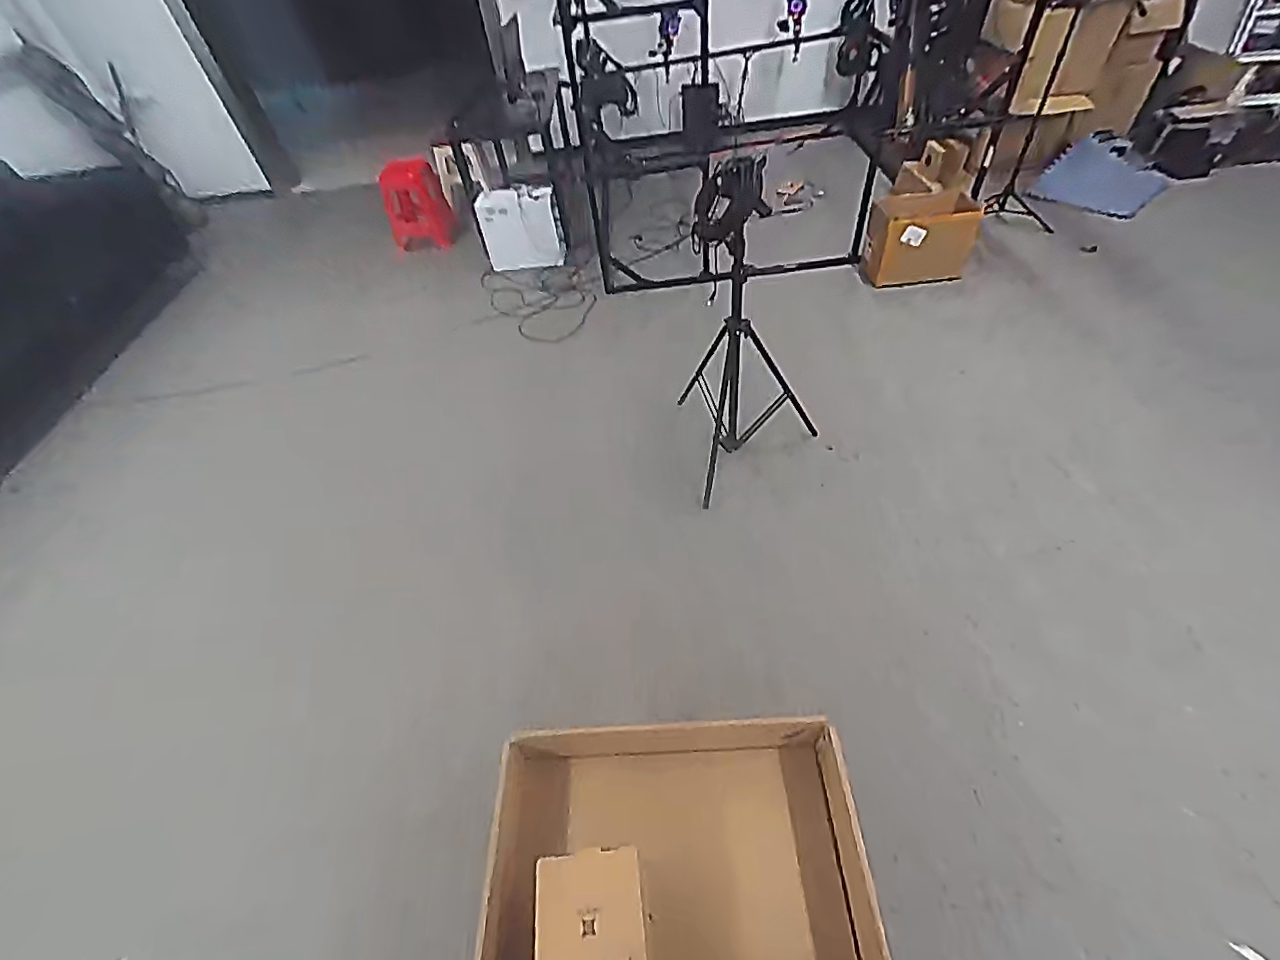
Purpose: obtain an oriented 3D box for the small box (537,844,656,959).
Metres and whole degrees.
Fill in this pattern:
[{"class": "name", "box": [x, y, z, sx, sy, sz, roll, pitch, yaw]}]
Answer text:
[{"class": "small box", "box": [-0.067, 0.716, 0.875, 0.168, 0.176, 0.179, -8, 48, 1]}]
